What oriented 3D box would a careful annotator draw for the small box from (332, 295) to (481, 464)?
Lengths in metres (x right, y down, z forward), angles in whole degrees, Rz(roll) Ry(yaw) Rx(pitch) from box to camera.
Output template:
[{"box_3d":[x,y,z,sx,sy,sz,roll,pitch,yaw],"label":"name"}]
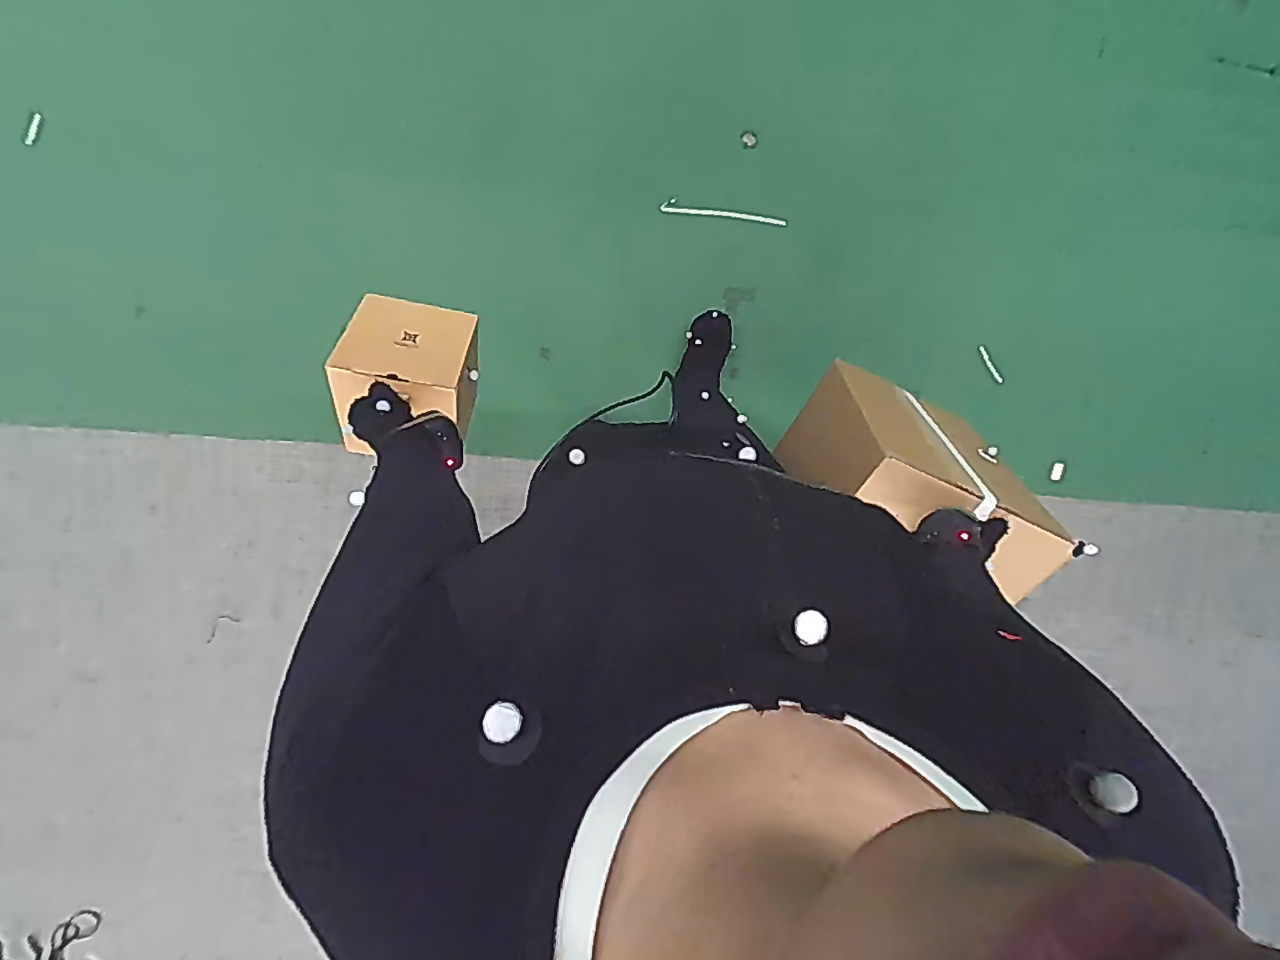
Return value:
[{"box_3d":[-0.349,-0.151,0.838,0.168,0.179,0.176,8,140,-11],"label":"small box"}]
